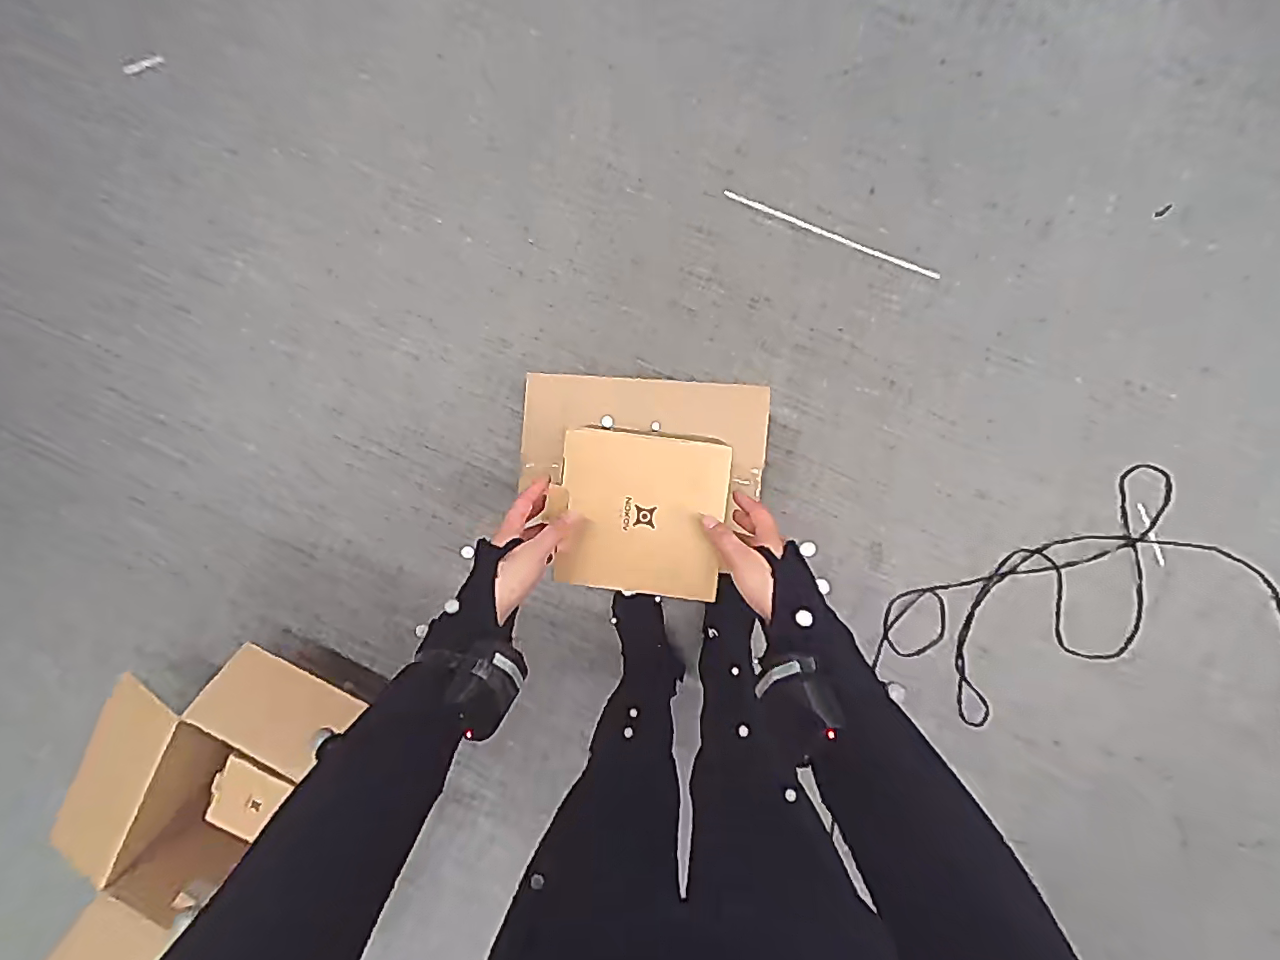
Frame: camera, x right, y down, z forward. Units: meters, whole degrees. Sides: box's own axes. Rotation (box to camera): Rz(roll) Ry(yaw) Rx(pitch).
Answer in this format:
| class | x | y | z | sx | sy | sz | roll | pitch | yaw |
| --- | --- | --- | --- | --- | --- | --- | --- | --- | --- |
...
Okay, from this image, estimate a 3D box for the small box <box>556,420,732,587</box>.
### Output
| class | x | y | z | sx | sy | sz | roll | pitch | yaw |
| --- | --- | --- | --- | --- | --- | --- | --- | --- | --- |
| small box | 0.009 | 0.017 | 0.651 | 0.179 | 0.176 | 0.168 | 6 | 97 | 5 |
